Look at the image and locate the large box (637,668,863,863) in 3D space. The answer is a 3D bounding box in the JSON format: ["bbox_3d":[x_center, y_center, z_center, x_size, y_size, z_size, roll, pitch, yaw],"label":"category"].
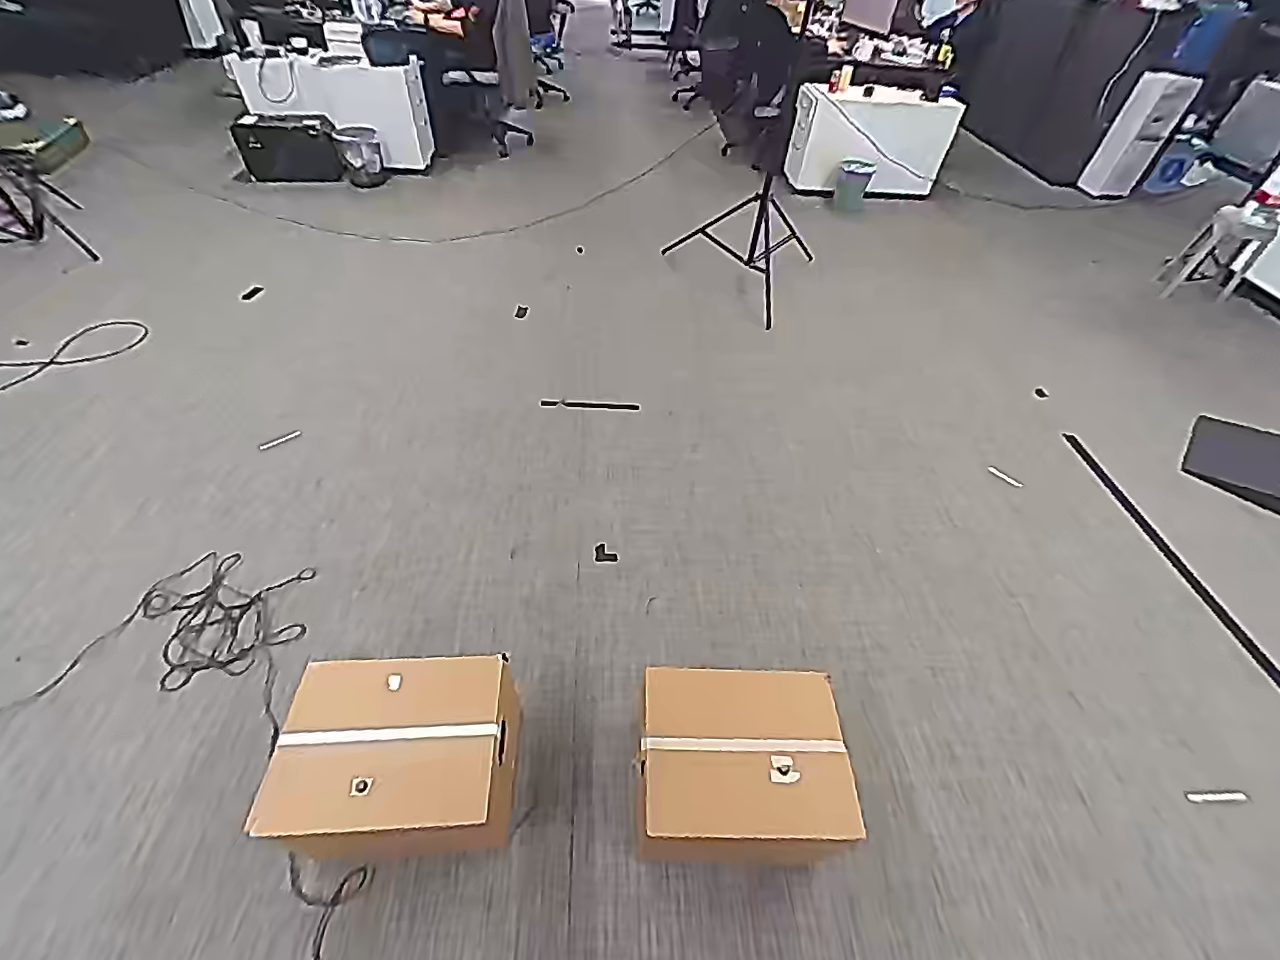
[{"bbox_3d":[0.203,0.633,1.193,0.408,0.320,0.320,3,47,-3],"label":"large box"}]
